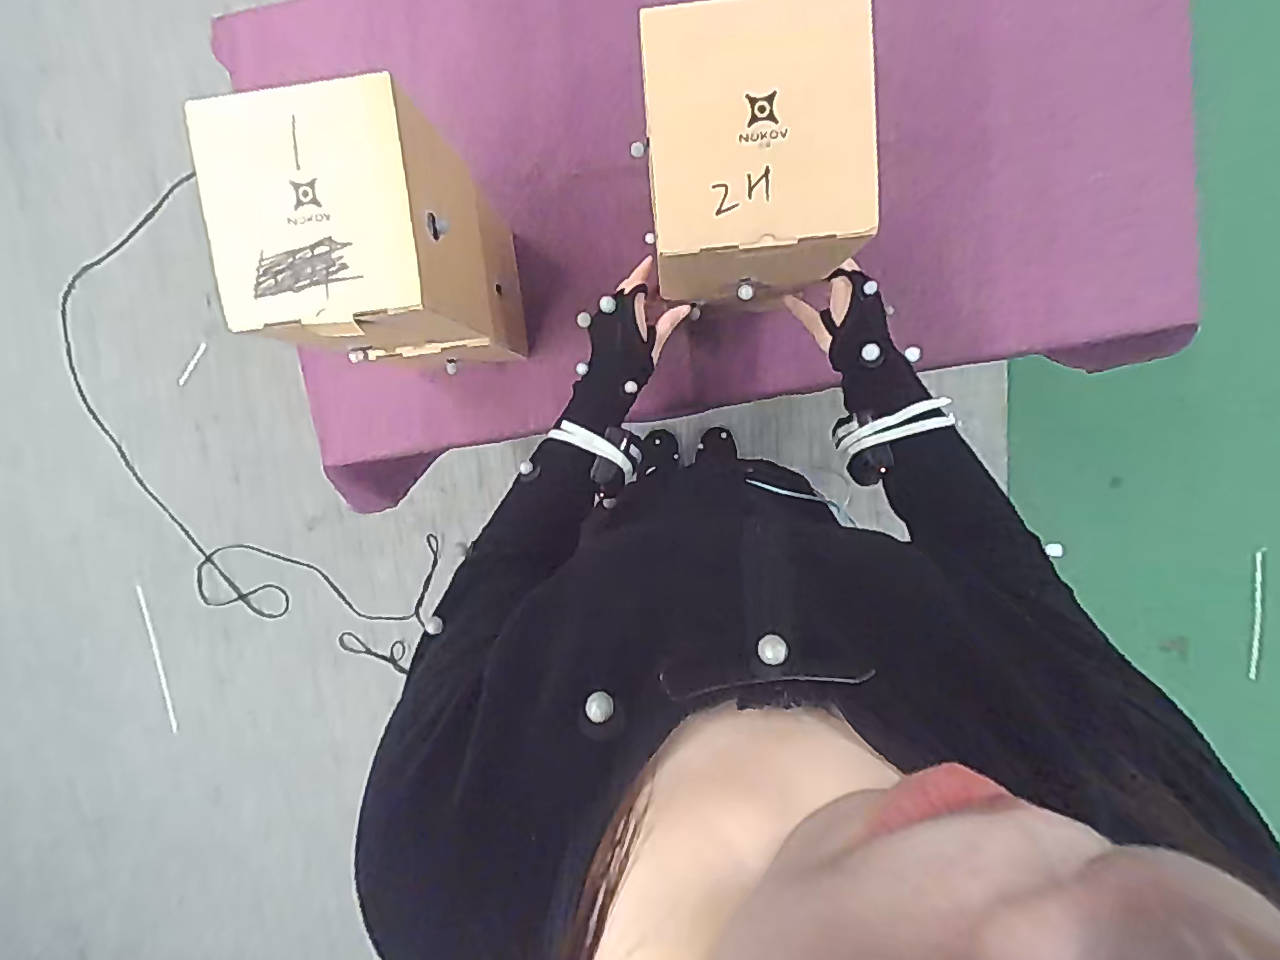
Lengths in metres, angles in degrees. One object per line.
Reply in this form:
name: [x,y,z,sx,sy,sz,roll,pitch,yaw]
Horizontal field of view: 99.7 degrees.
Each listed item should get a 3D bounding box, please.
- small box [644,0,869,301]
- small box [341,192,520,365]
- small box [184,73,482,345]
small box: [0.089,-0.270,0.481,0.168,0.176,0.179,-3,98,3]
small box: [-0.254,-0.237,0.663,0.168,0.176,0.179,-6,98,2]
small box: [-0.257,-0.224,0.498,0.168,0.176,0.179,-5,96,2]
